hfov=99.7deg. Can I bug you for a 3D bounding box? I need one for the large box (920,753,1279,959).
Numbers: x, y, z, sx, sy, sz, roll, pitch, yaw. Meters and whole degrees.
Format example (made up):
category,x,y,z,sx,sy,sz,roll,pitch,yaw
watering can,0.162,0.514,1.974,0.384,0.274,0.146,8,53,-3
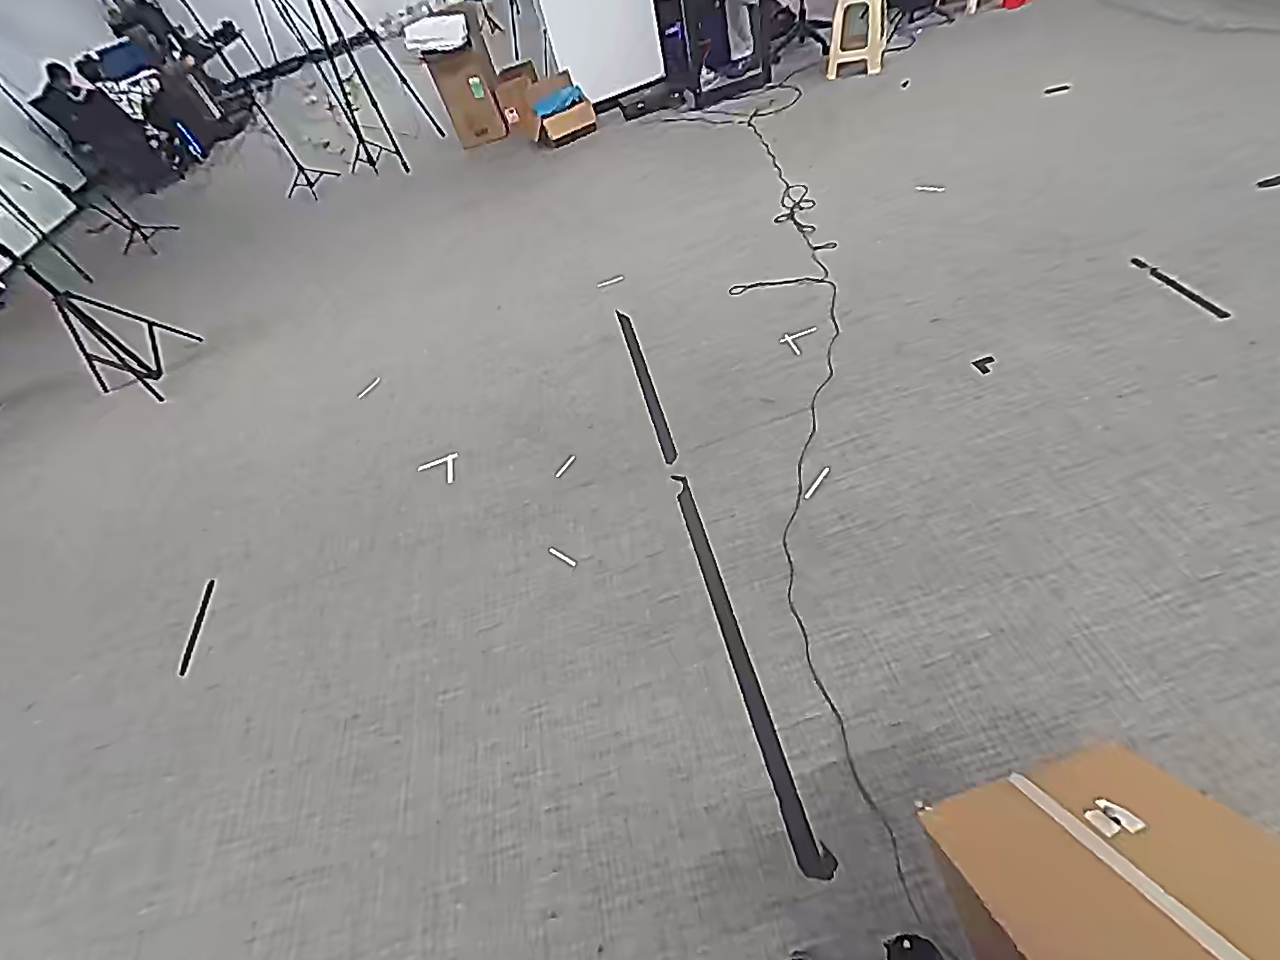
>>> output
category,x,y,z,sx,sy,sz,roll,pitch,yaw
large box,0.622,0.606,0.626,0.320,0.408,0.320,-21,88,1
